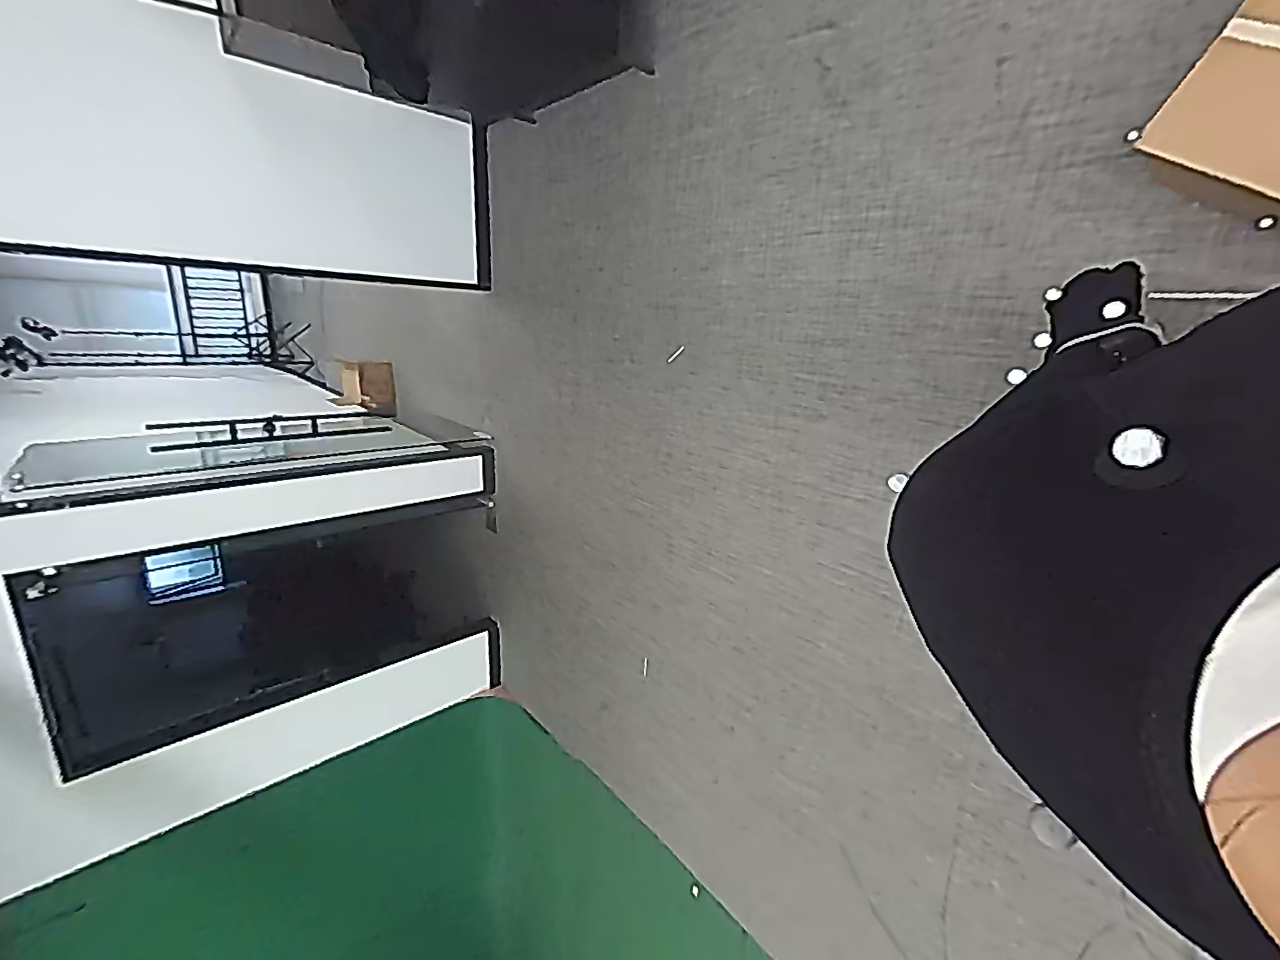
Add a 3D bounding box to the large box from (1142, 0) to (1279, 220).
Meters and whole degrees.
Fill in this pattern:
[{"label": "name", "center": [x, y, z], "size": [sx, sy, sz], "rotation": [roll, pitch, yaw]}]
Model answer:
[{"label": "large box", "center": [1.079, -0.540, 0.770], "size": [0.408, 0.320, 0.320], "rotation": [51, 132, 31]}]
